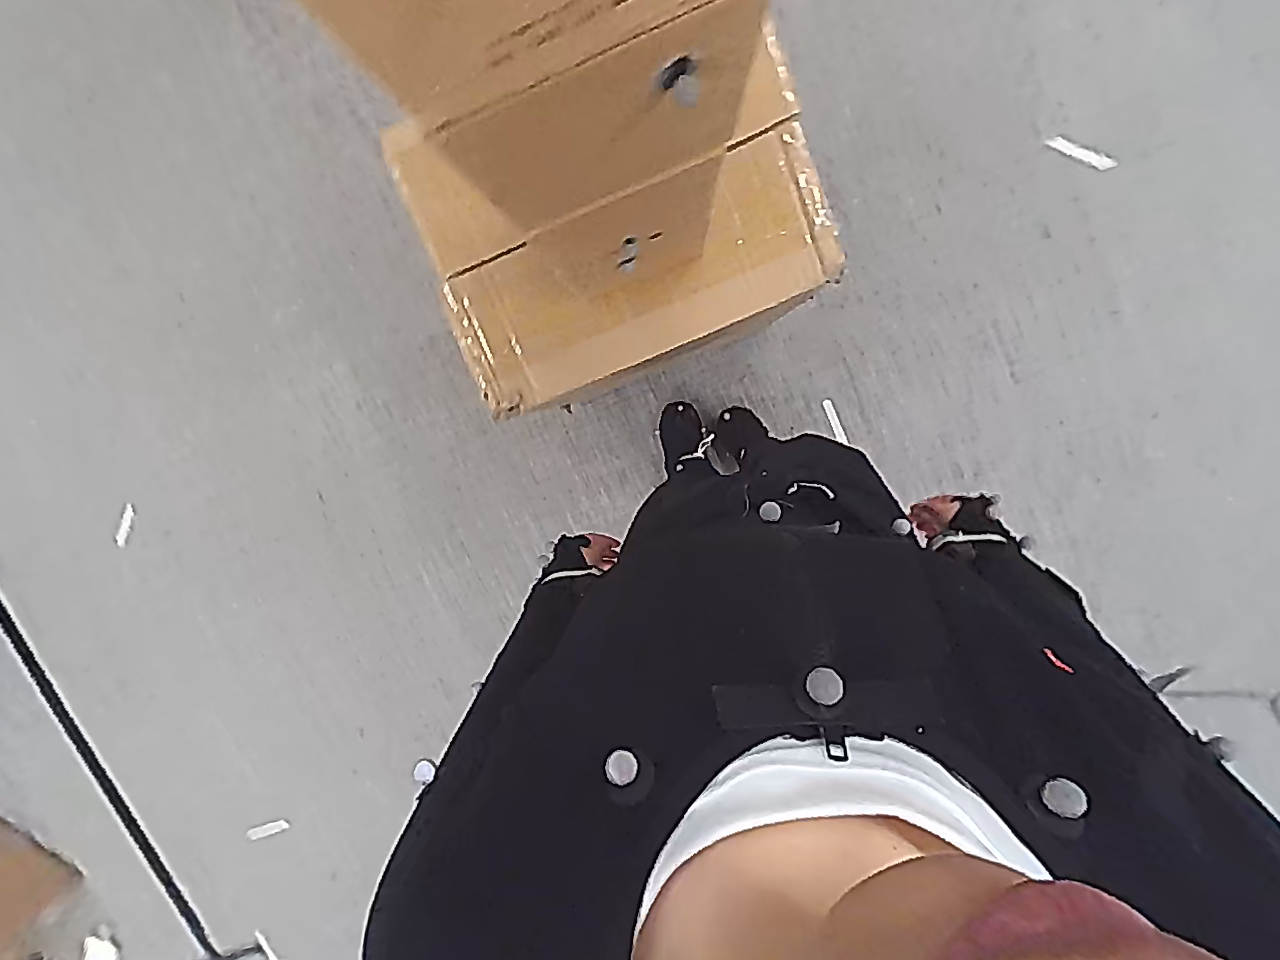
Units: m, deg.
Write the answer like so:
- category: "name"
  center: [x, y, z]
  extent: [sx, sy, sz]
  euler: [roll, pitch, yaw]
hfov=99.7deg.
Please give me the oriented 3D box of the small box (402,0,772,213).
- category: "small box"
  center: [-0.042, -0.284, 0.306]
  extent: [0.179, 0.176, 0.168]
  euler: [-20, 98, 7]

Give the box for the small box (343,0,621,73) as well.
- category: "small box"
  center: [-0.058, -0.260, 0.147]
  extent: [0.168, 0.176, 0.179]
  euler: [-22, 98, 7]

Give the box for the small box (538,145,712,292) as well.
- category: "small box"
  center: [-0.026, -0.337, 0.631]
  extent: [0.179, 0.176, 0.168]
  euler: [-20, 98, 6]
